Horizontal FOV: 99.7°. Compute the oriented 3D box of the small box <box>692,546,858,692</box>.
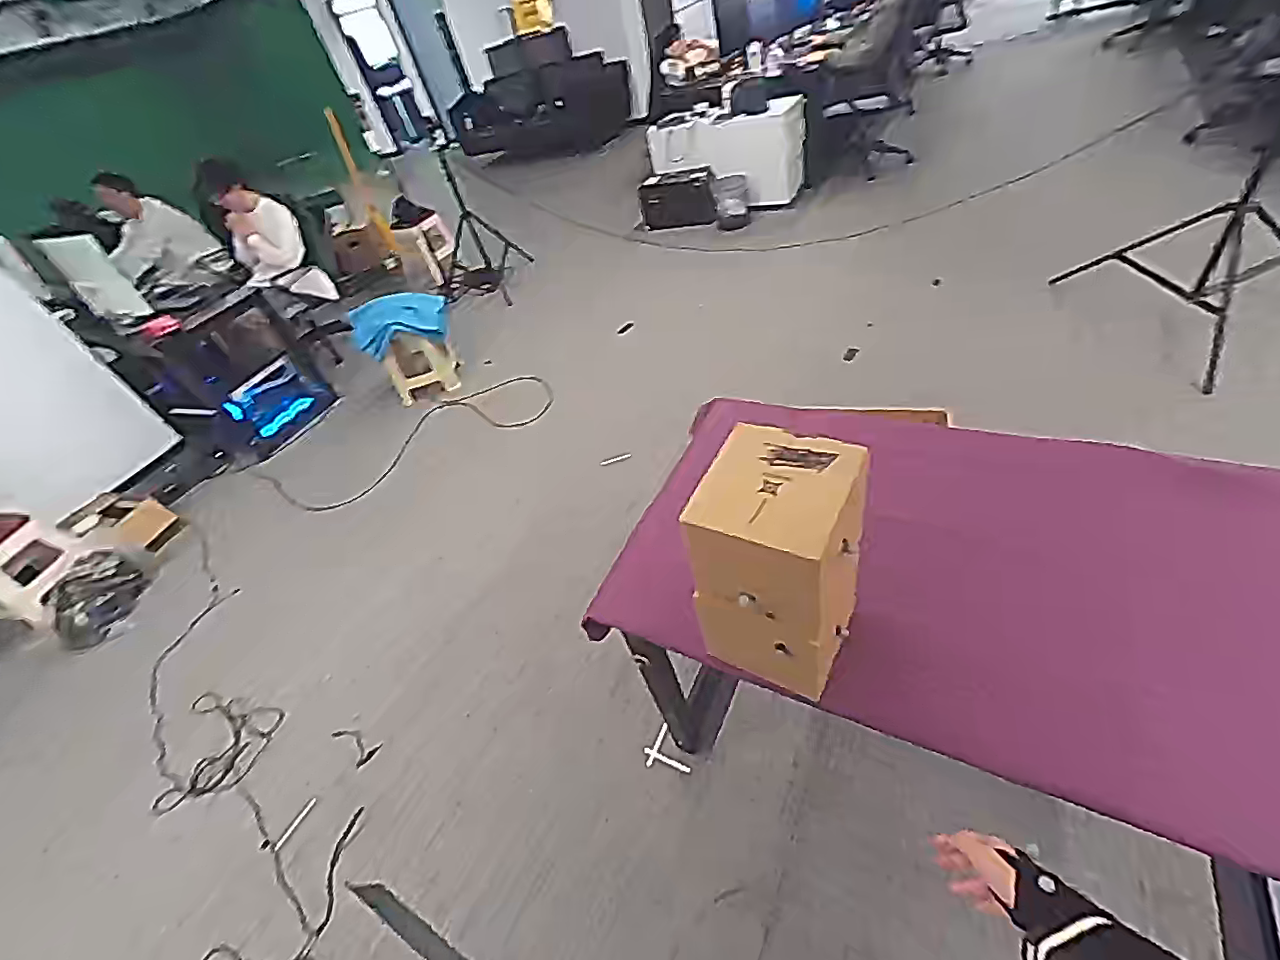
[{"bbox_3d":[0.200,0.179,0.785,0.179,0.176,0.168,16,52,31],"label":"small box"}]

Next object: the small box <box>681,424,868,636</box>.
[{"bbox_3d":[0.171,0.059,0.676,0.168,0.176,0.179,15,53,30],"label":"small box"}]
